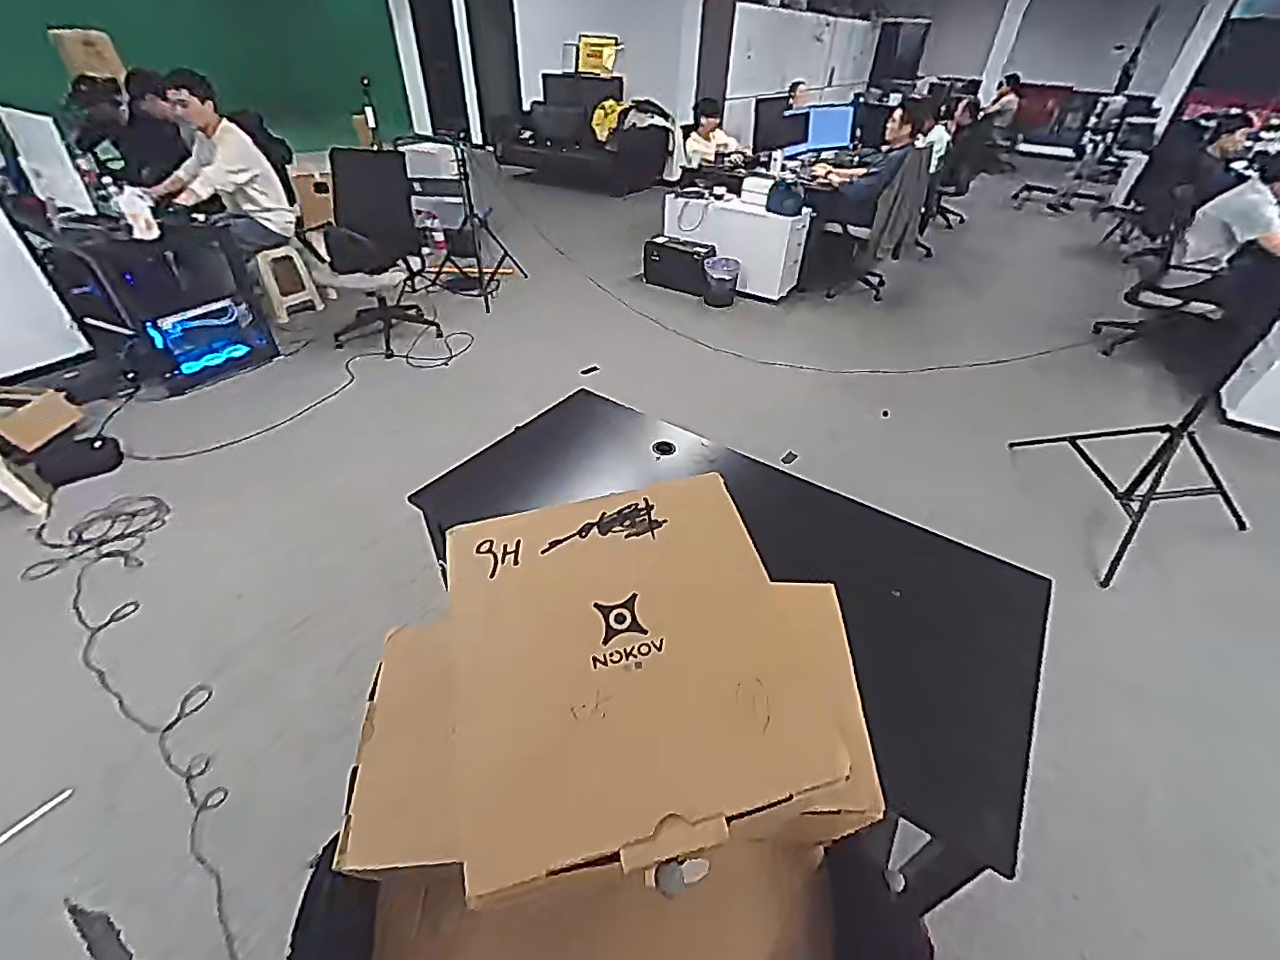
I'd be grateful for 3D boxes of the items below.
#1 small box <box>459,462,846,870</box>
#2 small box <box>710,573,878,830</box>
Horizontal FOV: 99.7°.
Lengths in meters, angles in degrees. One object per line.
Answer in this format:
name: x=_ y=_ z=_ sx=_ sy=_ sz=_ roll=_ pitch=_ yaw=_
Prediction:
small box: x=-0.006 y=0.119 z=0.338 sx=0.168 sy=0.176 sz=0.179 roll=-11 pitch=53 yaw=-10
small box: x=0.086 y=0.200 z=0.485 sx=0.168 sy=0.176 sz=0.179 roll=2 pitch=49 yaw=1
